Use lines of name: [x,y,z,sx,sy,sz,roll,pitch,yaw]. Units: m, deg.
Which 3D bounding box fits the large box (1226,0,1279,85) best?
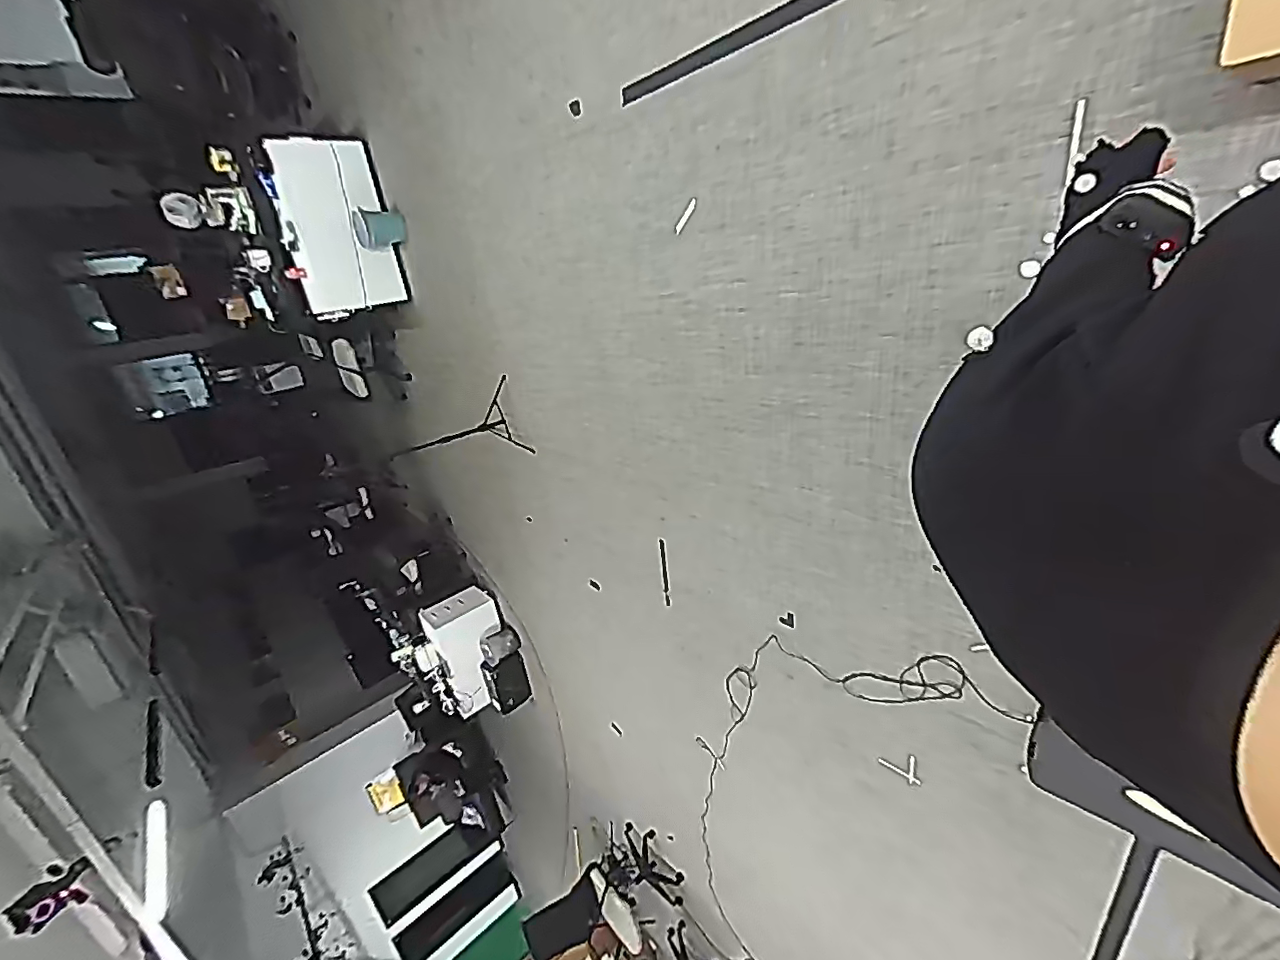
large box: [1.007,-0.718,0.625,0.408,0.320,0.320,15,122,46]
